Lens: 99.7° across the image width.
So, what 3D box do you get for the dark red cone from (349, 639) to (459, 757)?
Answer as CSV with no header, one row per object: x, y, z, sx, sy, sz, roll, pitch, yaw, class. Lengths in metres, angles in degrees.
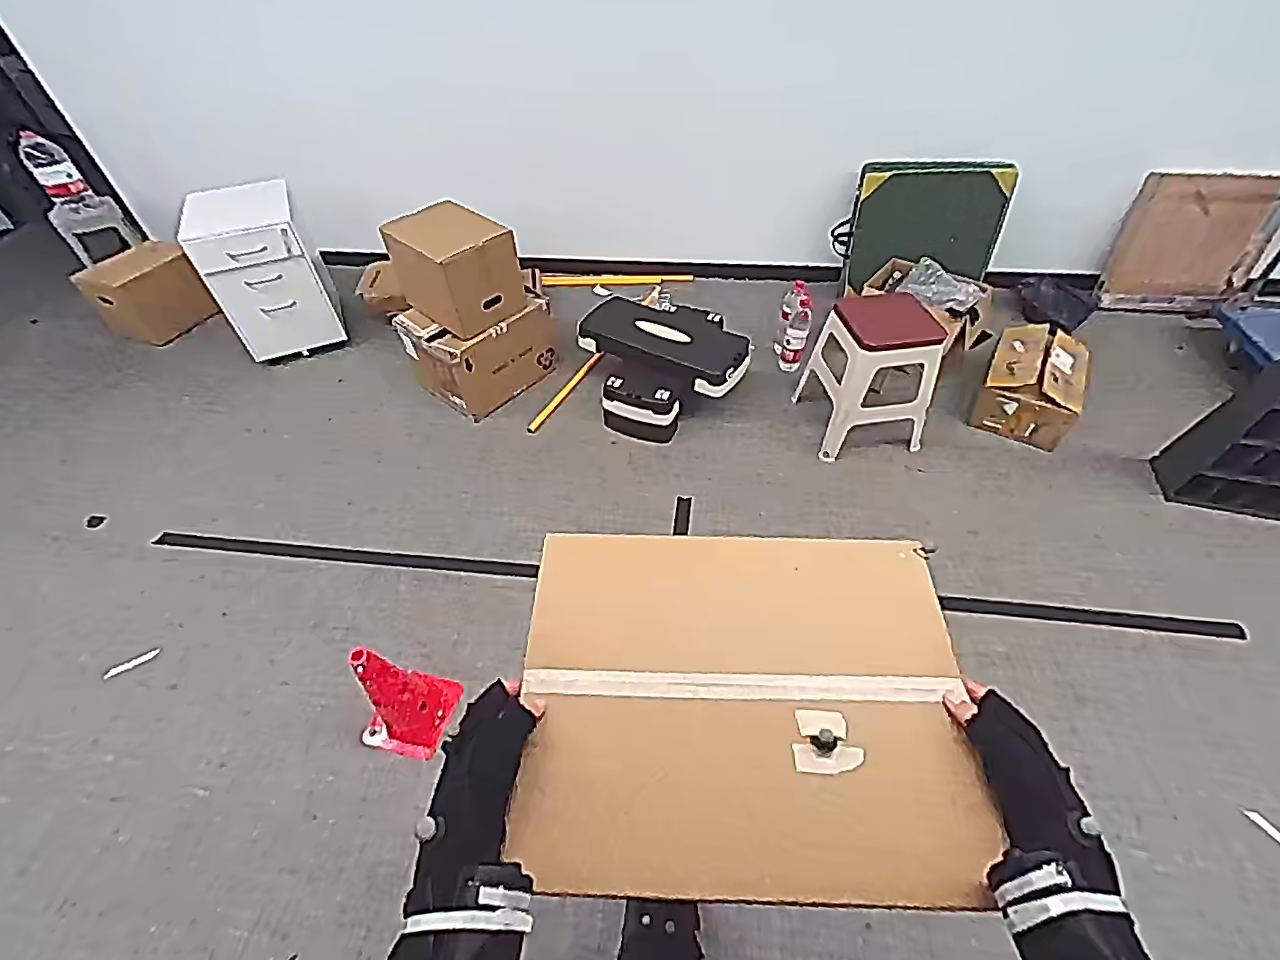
-0.593,0.483,1.276,0.201,0.394,0.202,9,49,9,dark red cone

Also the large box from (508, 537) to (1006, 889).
0.093,0.277,0.631,0.408,0.320,0.320,1,55,1,large box
